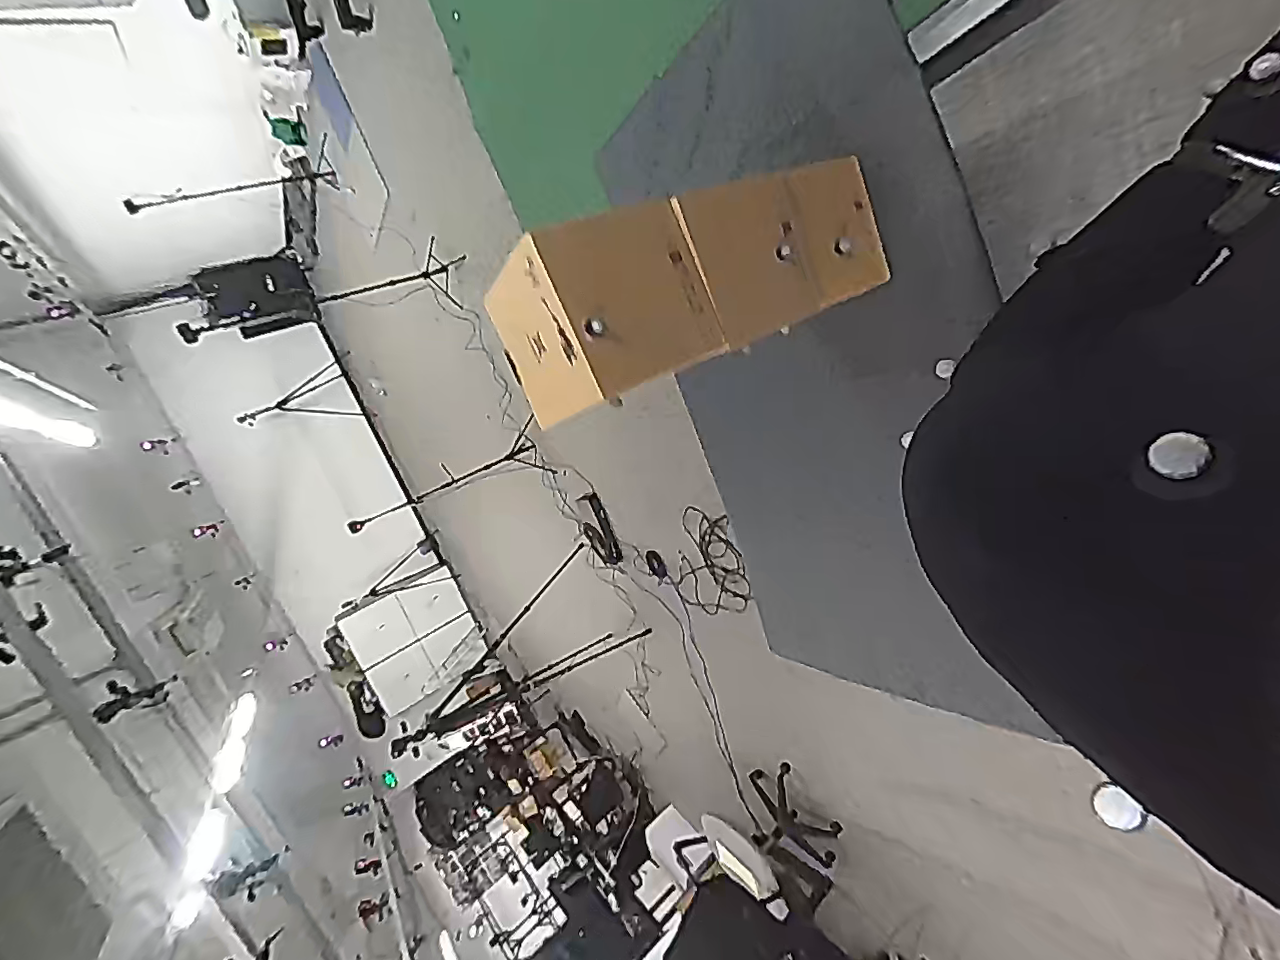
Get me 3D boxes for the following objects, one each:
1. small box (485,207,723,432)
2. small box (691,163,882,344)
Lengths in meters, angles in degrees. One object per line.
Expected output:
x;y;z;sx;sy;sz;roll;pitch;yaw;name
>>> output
-0.041;-0.168;0.594;0.179;0.176;0.168;-9;109;60;small box
0.208;-0.311;0.753;0.179;0.176;0.168;-3;113;59;small box
